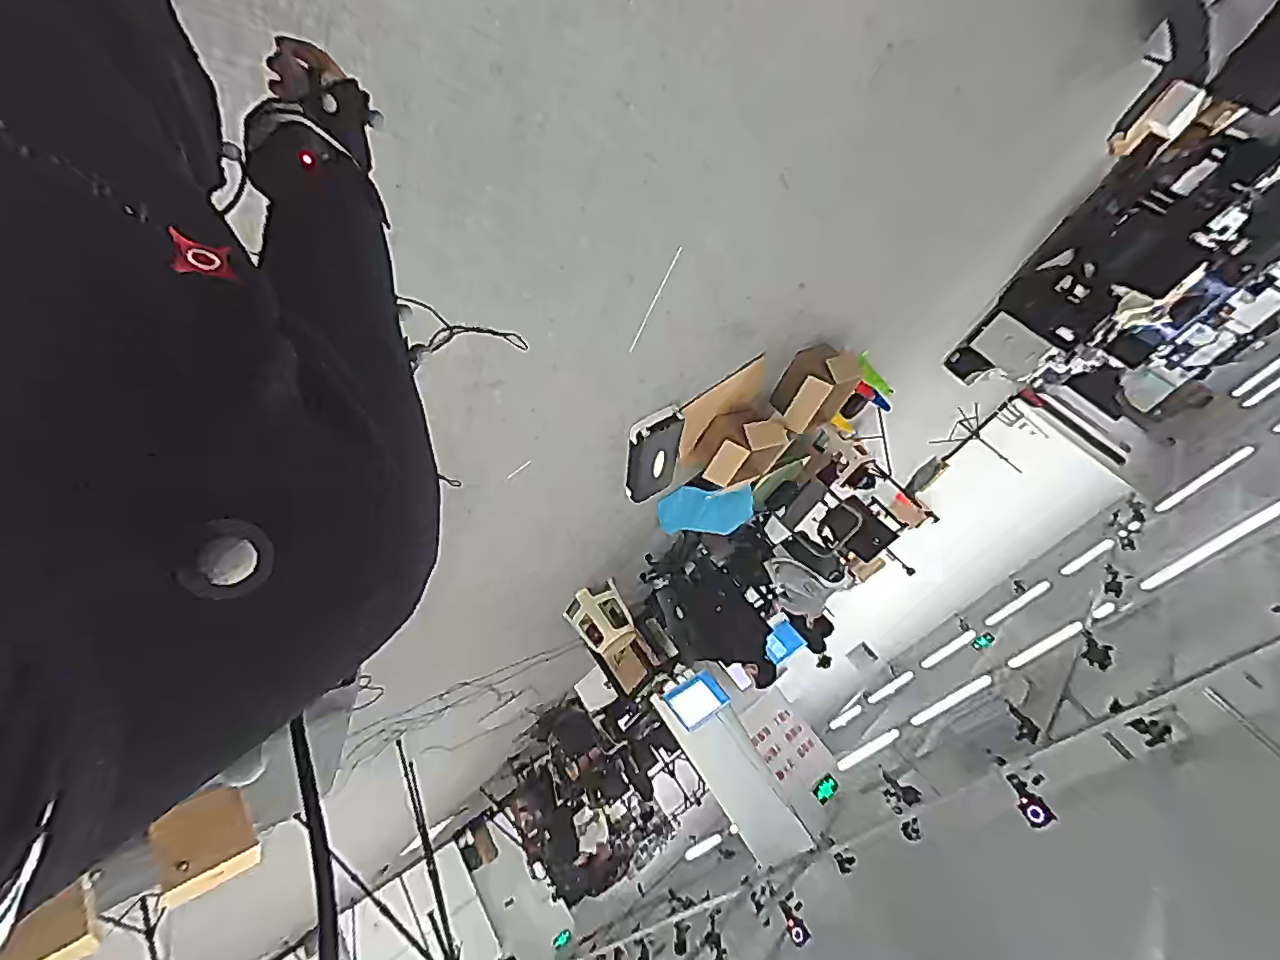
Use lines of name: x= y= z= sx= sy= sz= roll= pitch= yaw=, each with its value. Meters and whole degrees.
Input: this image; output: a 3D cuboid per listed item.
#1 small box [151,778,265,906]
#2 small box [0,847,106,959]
small box: x=-1.007 y=0.838 z=1.266 sx=0.179 sy=0.176 sz=0.168 roll=-13 pitch=145 yaw=-43
small box: x=-1.202 y=0.880 z=1.069 sx=0.179 sy=0.176 sz=0.168 roll=-14 pitch=147 yaw=-44
